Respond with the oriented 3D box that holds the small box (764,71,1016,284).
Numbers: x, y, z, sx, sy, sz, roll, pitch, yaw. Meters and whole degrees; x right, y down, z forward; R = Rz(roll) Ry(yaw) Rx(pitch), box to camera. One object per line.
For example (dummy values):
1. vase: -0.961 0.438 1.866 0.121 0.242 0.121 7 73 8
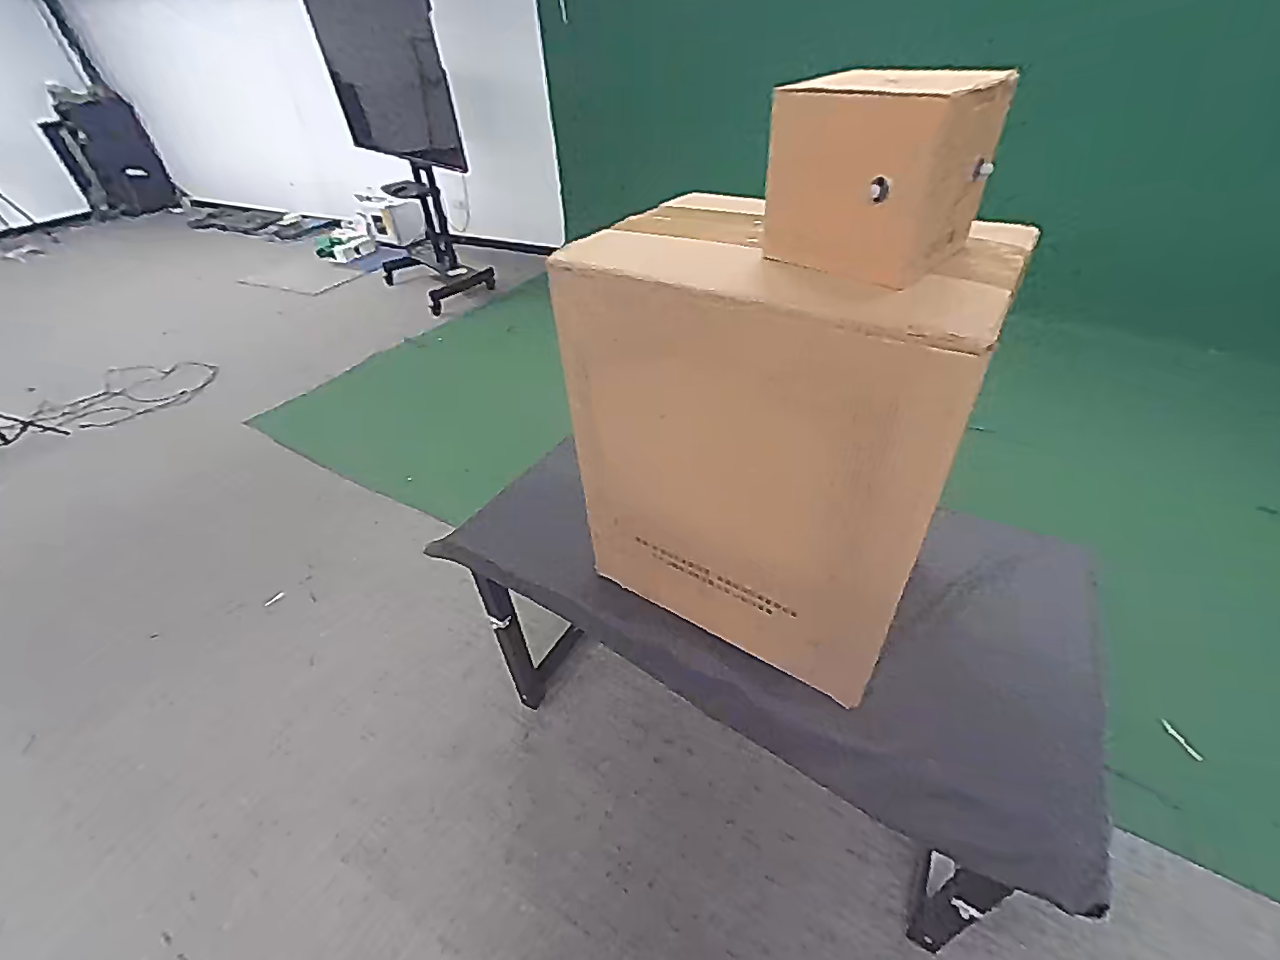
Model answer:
1. small box: 0.257 -0.330 0.590 0.168 0.176 0.179 -34 48 -30
